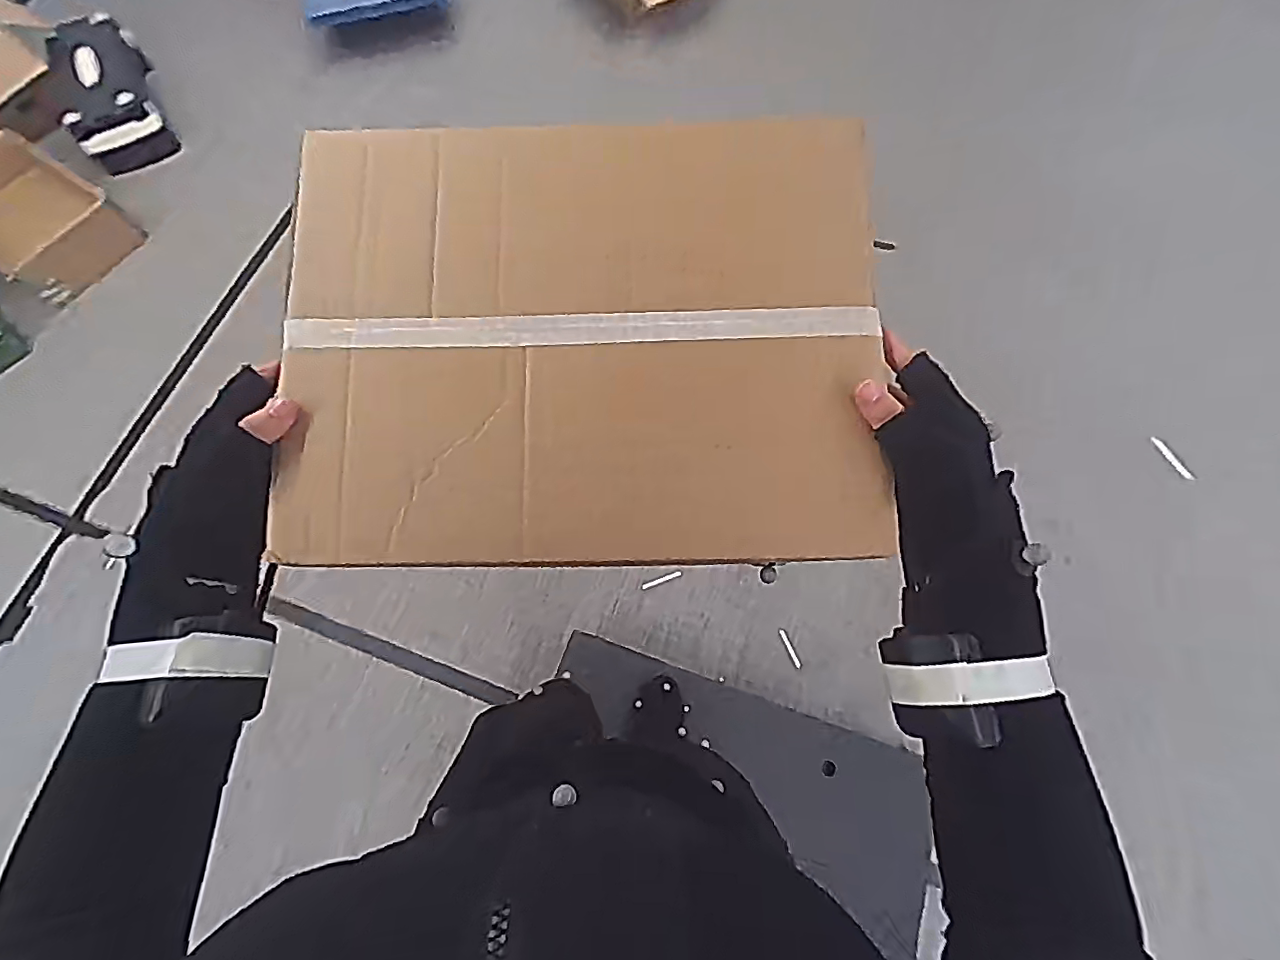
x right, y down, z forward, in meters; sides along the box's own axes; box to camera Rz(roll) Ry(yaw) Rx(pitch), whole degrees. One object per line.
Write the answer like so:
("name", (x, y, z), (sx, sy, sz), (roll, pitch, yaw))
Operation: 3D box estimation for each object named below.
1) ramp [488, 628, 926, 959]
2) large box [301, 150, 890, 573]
("ramp", (0.200, 0.757, 1.296), (0.991, 0.206, 0.509), (16, 70, 6))
("large box", (-0.029, -0.072, 0.529), (0.408, 0.320, 0.320), (0, 81, 0))
